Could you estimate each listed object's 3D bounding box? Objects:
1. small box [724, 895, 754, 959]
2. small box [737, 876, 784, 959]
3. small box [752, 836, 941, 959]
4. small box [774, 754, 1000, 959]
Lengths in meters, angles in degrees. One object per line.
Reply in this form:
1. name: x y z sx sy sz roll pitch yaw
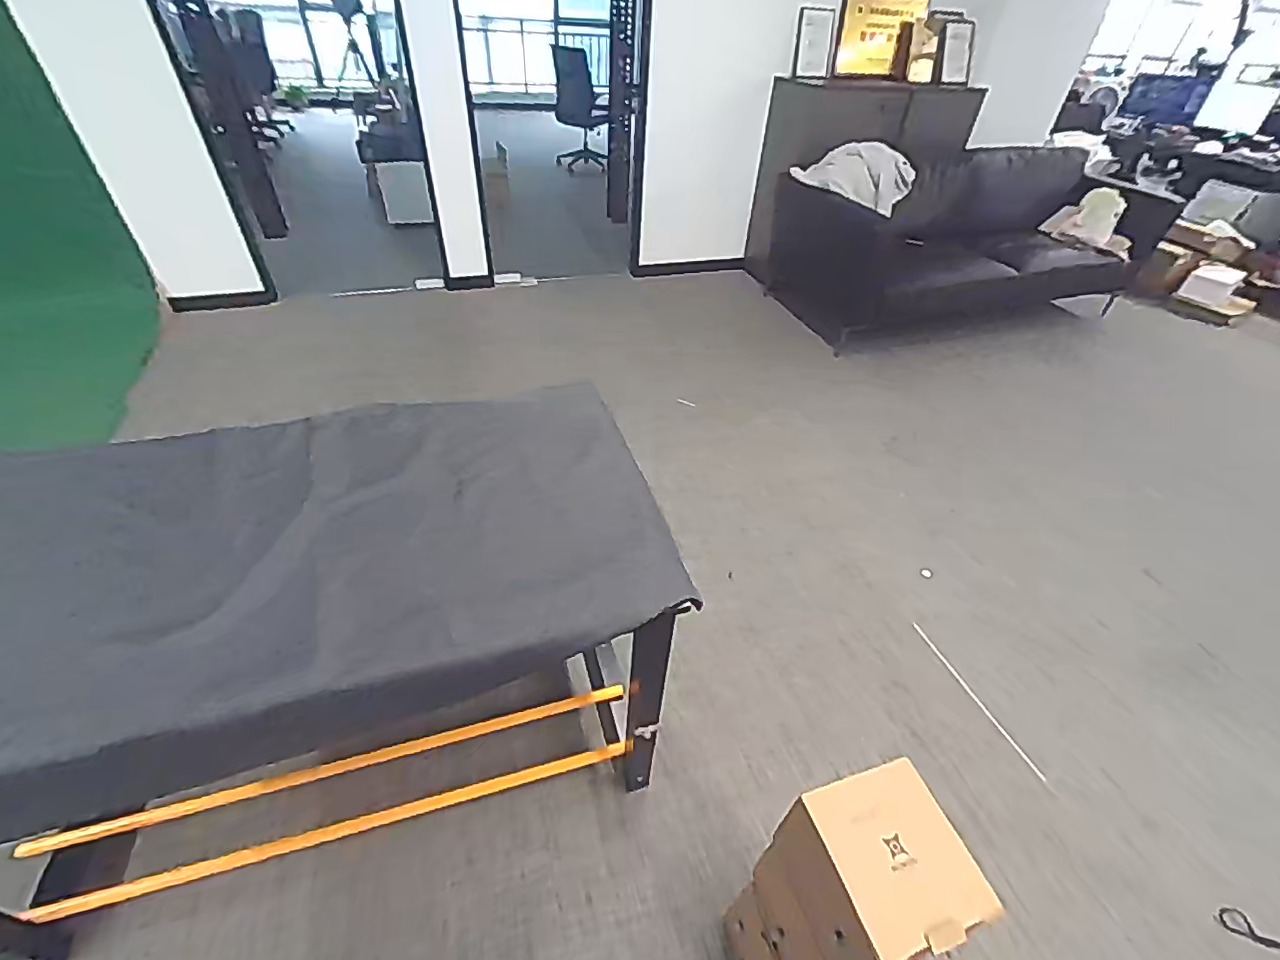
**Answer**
1. small box: 0.276 0.864 1.009 0.179 0.176 0.168 -8 42 -16
2. small box: 0.275 0.745 0.896 0.179 0.176 0.168 -10 43 -17
3. small box: 0.286 0.617 0.793 0.168 0.176 0.179 -9 44 -16
4. small box: 0.295 0.492 0.690 0.168 0.176 0.179 -10 42 -16
